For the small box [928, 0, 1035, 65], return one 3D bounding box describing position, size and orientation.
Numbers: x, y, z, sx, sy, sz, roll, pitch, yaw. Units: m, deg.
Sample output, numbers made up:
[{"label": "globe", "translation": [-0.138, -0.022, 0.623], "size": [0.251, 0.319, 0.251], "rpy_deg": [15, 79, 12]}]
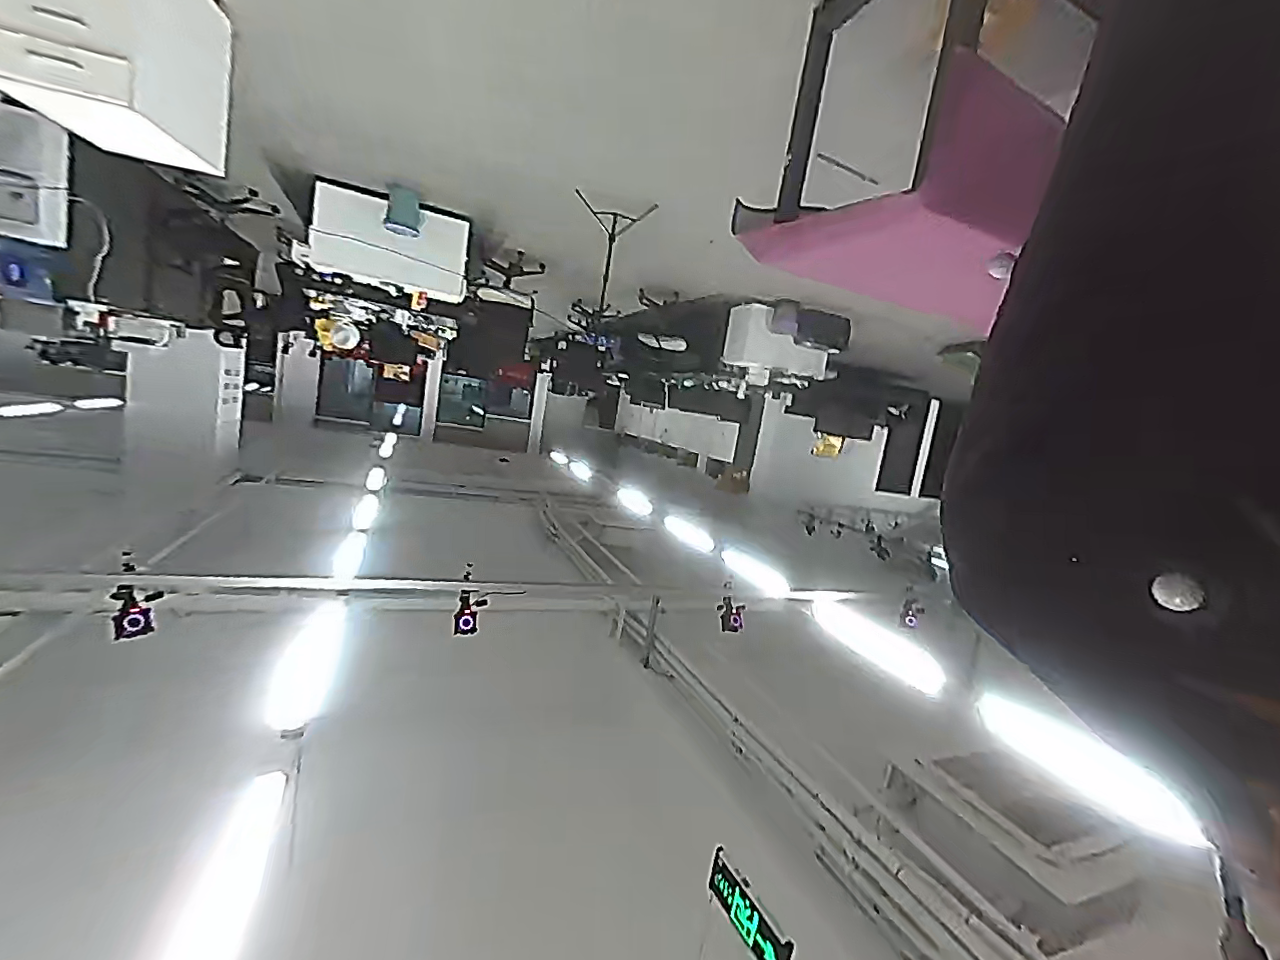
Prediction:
[{"label": "small box", "translation": [0.881, -1.227, 1.386], "size": [0.179, 0.176, 0.168], "rpy_deg": [5, -171, -25]}]
